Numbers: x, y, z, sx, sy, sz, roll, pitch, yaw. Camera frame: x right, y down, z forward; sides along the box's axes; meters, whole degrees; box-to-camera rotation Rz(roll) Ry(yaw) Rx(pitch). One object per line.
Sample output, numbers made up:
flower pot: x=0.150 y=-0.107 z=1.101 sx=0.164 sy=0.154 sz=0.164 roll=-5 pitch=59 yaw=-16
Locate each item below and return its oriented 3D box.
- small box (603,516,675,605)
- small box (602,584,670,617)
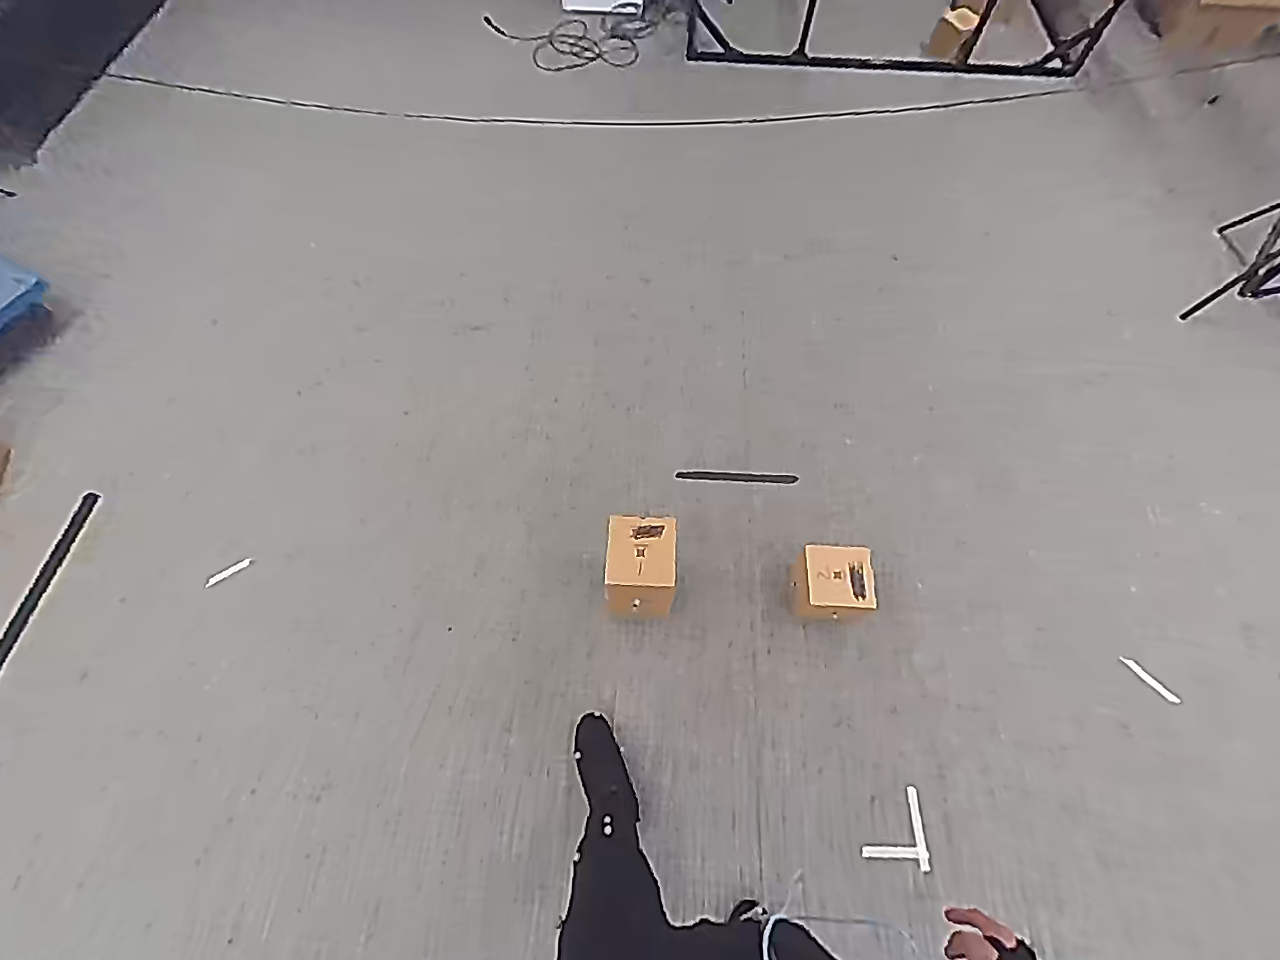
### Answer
small box: x=-0.001 y=0.205 z=1.356 sx=0.168 sy=0.176 sz=0.179 roll=2 pitch=64 yaw=2
small box: x=-0.008 y=0.281 z=1.502 sx=0.179 sy=0.176 sz=0.168 roll=2 pitch=64 yaw=1
